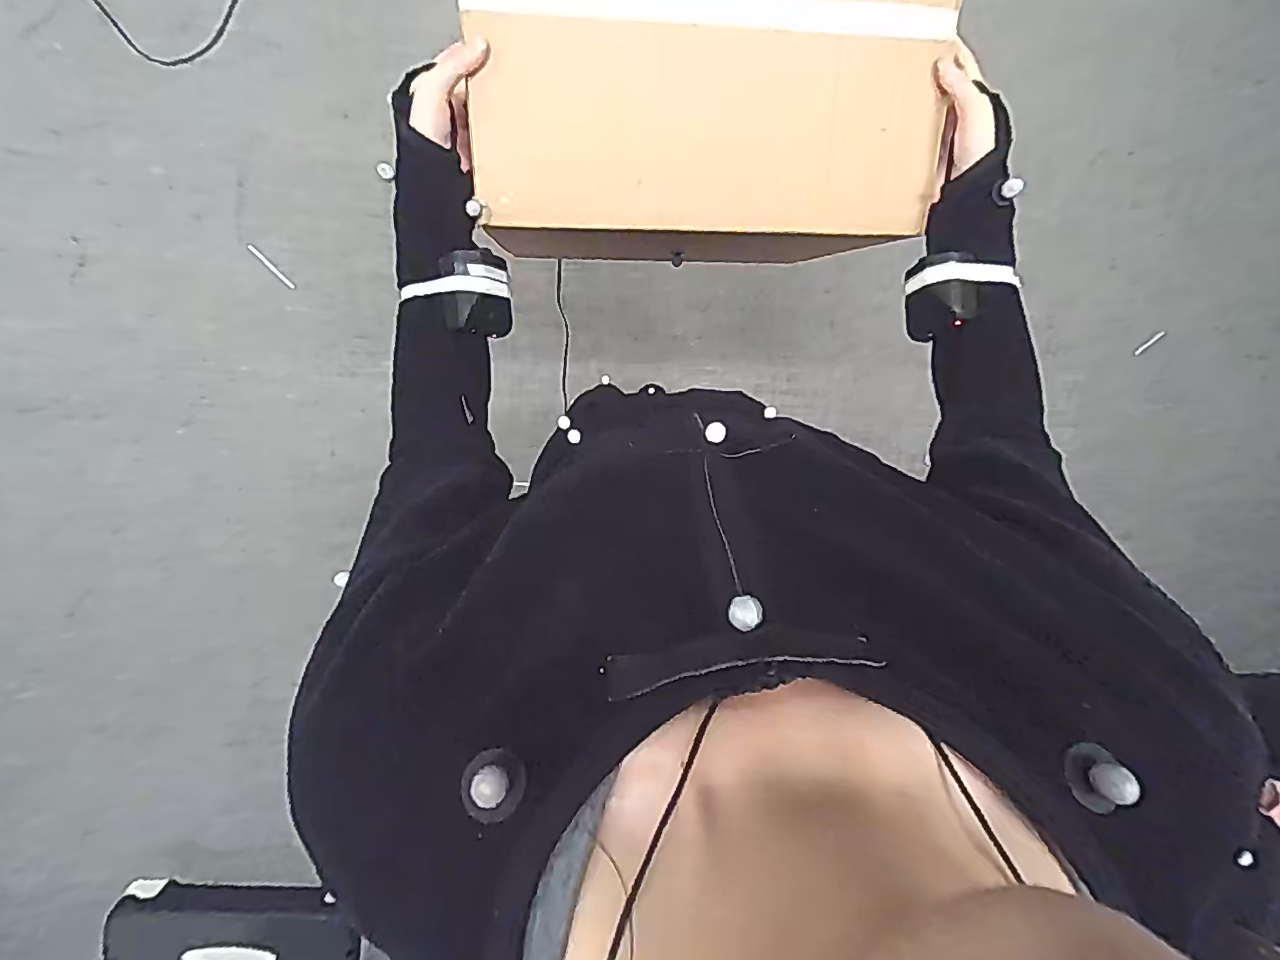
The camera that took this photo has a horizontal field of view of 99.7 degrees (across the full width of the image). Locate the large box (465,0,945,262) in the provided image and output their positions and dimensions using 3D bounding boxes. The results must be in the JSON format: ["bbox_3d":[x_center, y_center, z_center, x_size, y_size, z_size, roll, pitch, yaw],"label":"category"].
[{"bbox_3d":[0.046,-0.413,0.587,0.408,0.320,0.320,-2,106,-6],"label":"large box"}]
